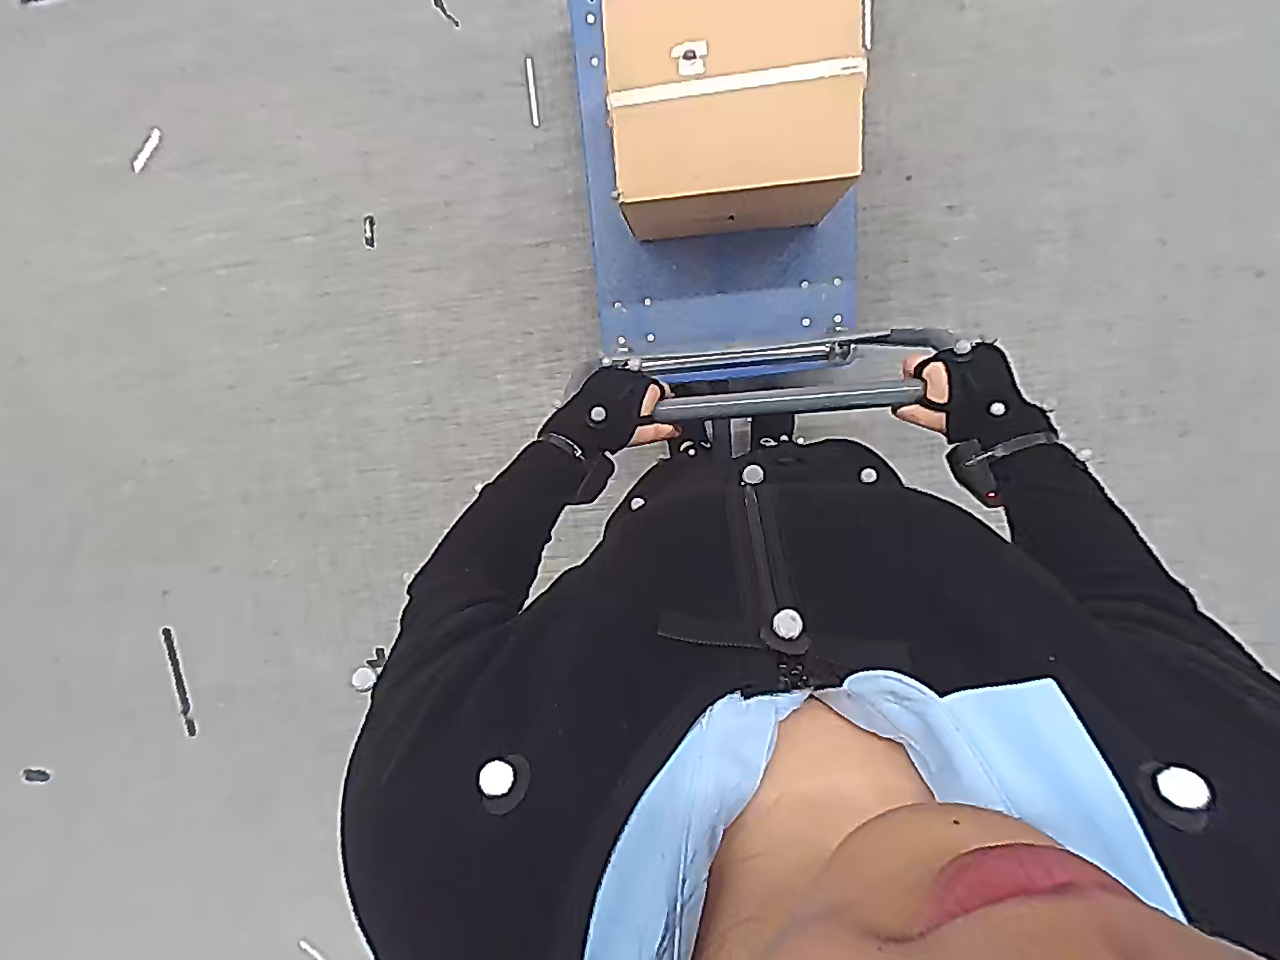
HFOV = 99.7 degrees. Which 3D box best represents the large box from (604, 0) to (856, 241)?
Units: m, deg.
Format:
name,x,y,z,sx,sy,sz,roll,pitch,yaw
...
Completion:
name,x,y,z,sx,sy,sz,roll,pitch,yaw
large box,0.168,-0.675,1.040,0.408,0.320,0.320,-4,101,8
